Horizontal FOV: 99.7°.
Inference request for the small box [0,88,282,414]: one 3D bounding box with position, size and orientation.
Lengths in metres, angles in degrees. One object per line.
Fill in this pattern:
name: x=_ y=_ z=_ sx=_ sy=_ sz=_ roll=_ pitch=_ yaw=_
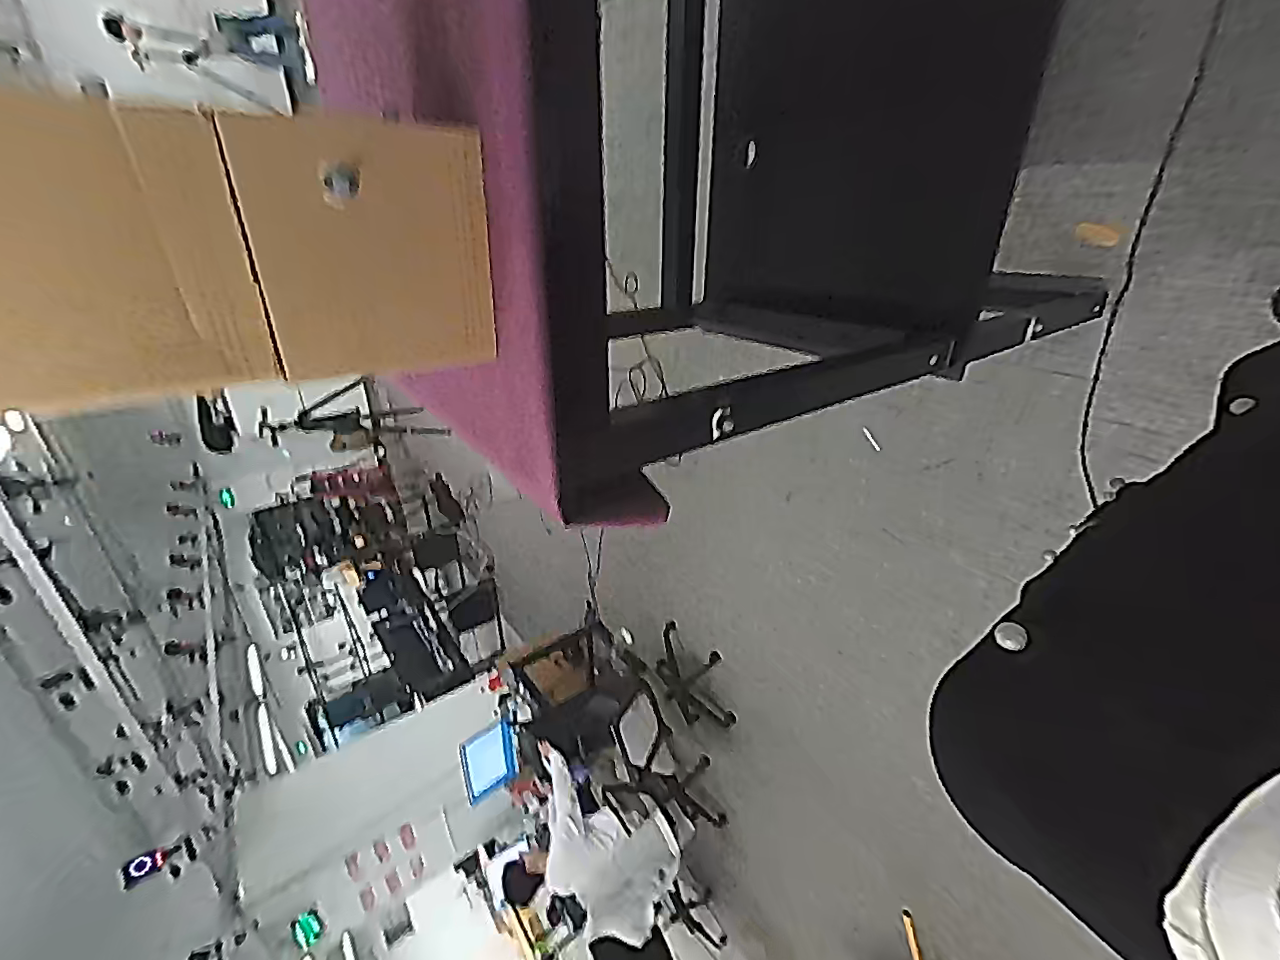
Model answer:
small box: x=-0.372 y=-0.163 z=0.379 sx=0.168 sy=0.176 sz=0.179 roll=36 pitch=131 yaw=44
